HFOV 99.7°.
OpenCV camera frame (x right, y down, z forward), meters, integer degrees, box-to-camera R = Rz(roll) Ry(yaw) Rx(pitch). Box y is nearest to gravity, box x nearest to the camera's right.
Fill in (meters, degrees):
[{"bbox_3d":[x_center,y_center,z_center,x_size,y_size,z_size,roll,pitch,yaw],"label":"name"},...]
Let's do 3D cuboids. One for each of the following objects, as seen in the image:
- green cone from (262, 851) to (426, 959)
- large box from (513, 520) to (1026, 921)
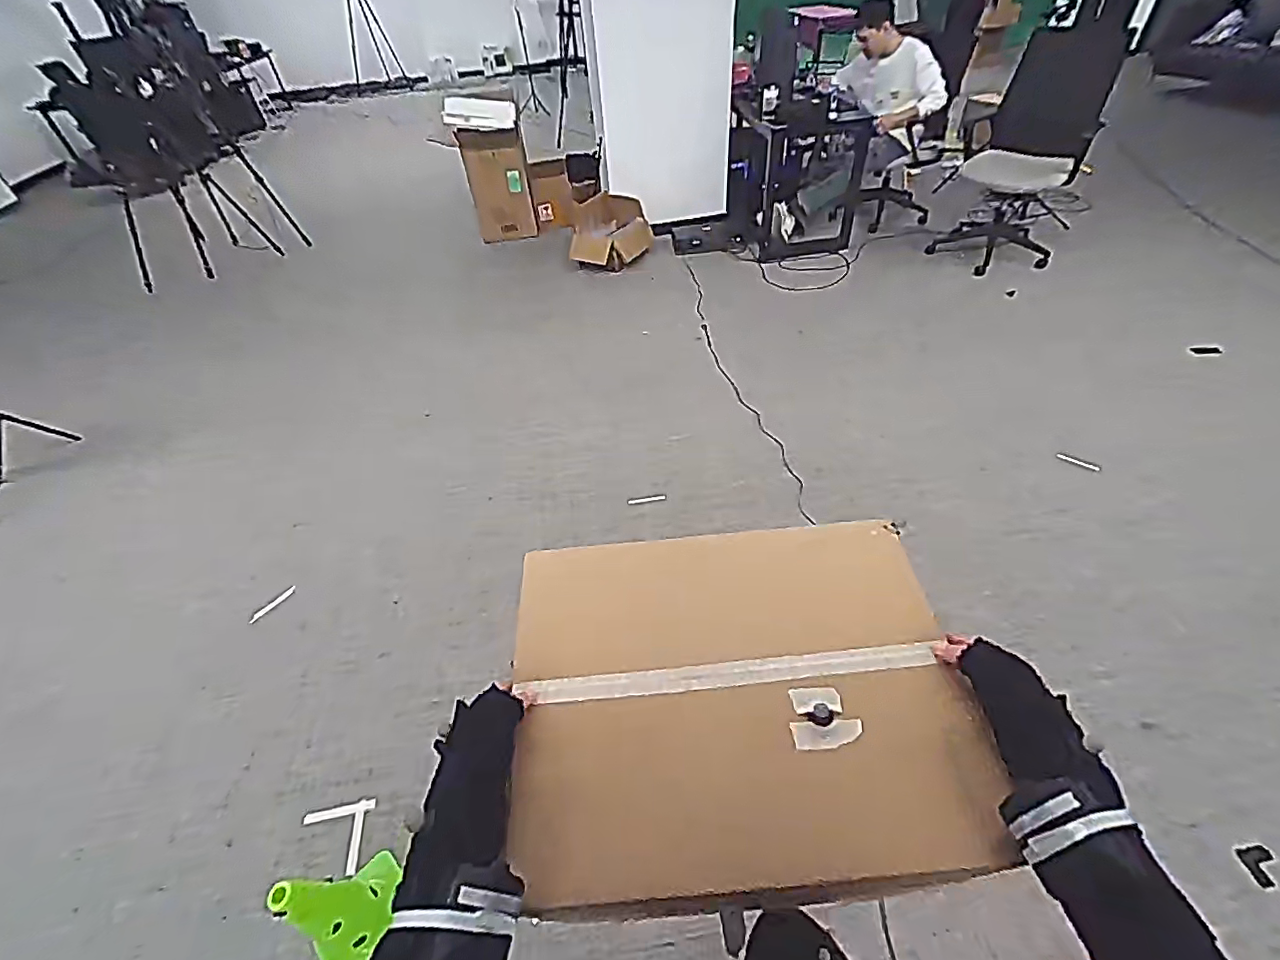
[{"bbox_3d":[-0.614,0.851,1.067,0.200,0.368,0.202,31,57,33],"label":"green cone"},{"bbox_3d":[0.094,0.276,0.616,0.408,0.320,0.320,-5,49,0],"label":"large box"}]
